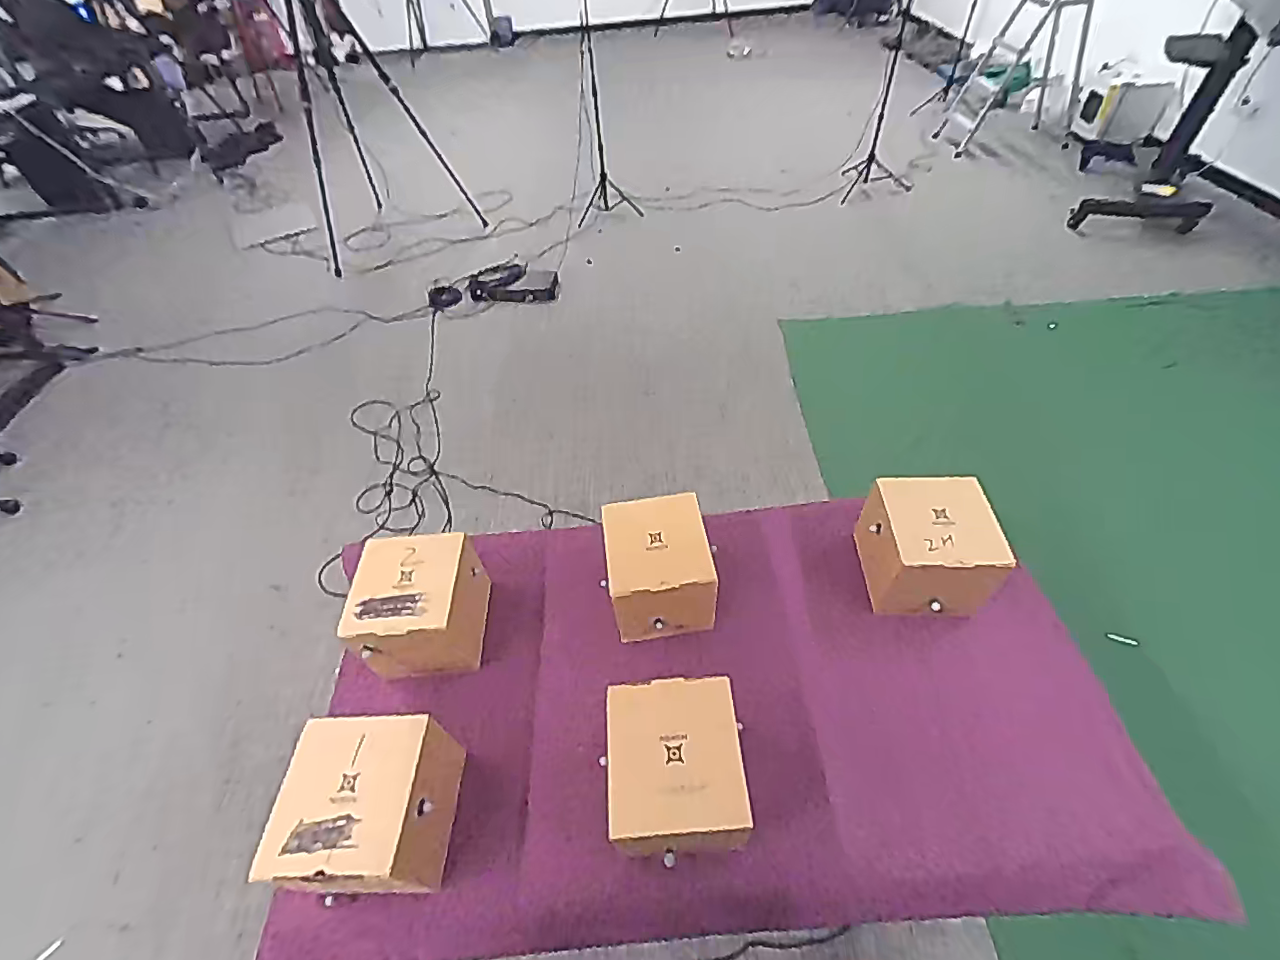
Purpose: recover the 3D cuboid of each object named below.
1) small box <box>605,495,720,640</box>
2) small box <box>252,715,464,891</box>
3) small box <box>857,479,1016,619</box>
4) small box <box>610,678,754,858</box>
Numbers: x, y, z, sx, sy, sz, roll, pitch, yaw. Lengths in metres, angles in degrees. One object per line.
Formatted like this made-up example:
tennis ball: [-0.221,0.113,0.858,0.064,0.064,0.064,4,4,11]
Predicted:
small box: [0.033,0.151,0.927,0.168,0.176,0.179,-8,51,-3]
small box: [-0.348,0.429,0.713,0.168,0.176,0.179,-2,48,2]
small box: [0.484,0.117,0.919,0.168,0.176,0.179,-1,50,5]
small box: [0.049,0.387,0.724,0.168,0.176,0.179,-5,49,1]
